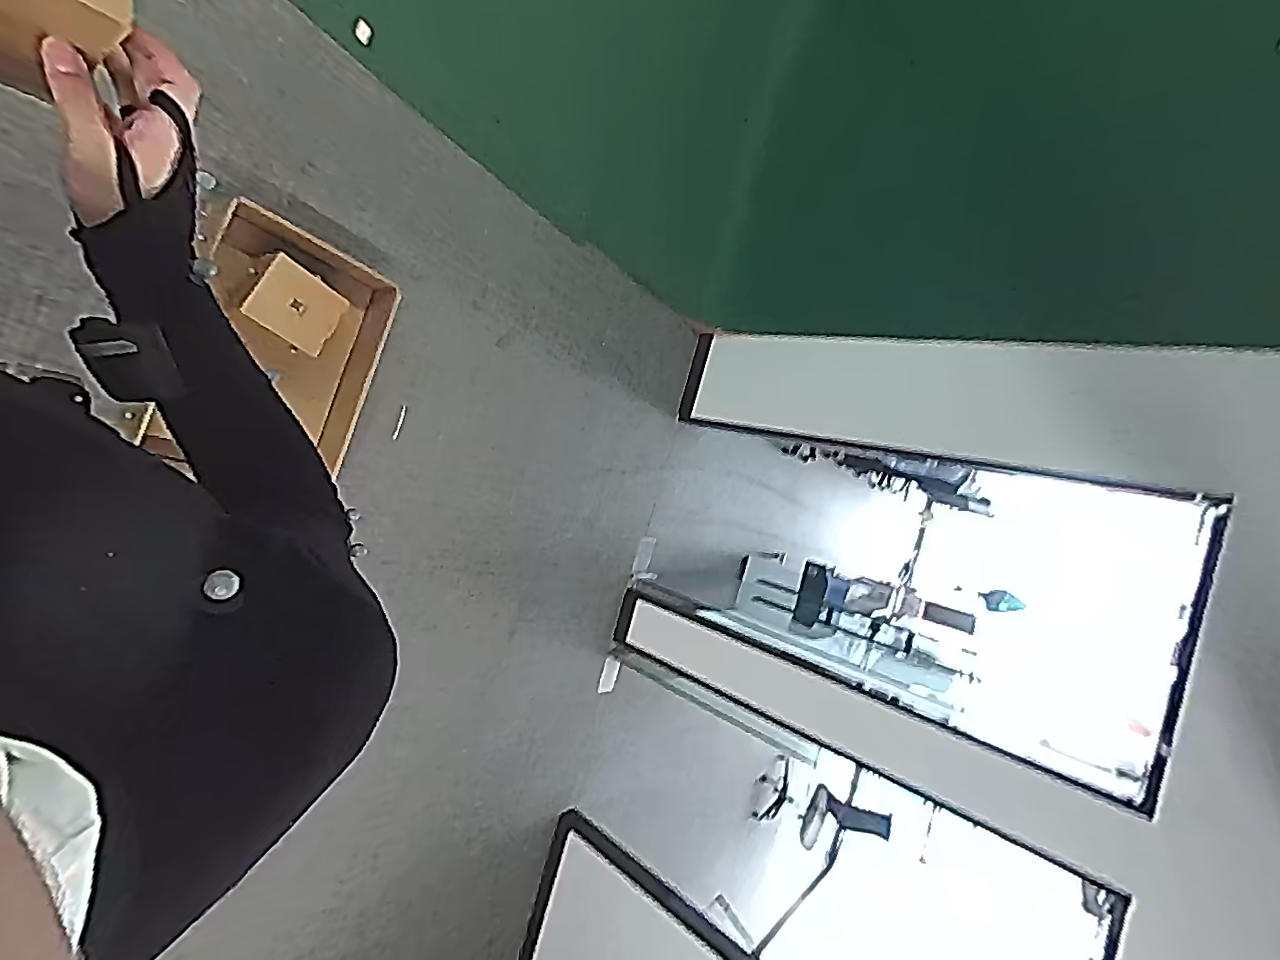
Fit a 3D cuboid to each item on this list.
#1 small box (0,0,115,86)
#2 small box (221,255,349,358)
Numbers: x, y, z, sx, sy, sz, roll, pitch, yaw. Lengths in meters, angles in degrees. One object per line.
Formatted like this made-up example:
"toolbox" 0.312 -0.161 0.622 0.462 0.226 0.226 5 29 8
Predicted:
"small box" -0.405 -0.357 0.283 0.168 0.176 0.179 1 94 -58
"small box" -0.855 -0.412 1.299 0.179 0.176 0.168 41 70 -51
